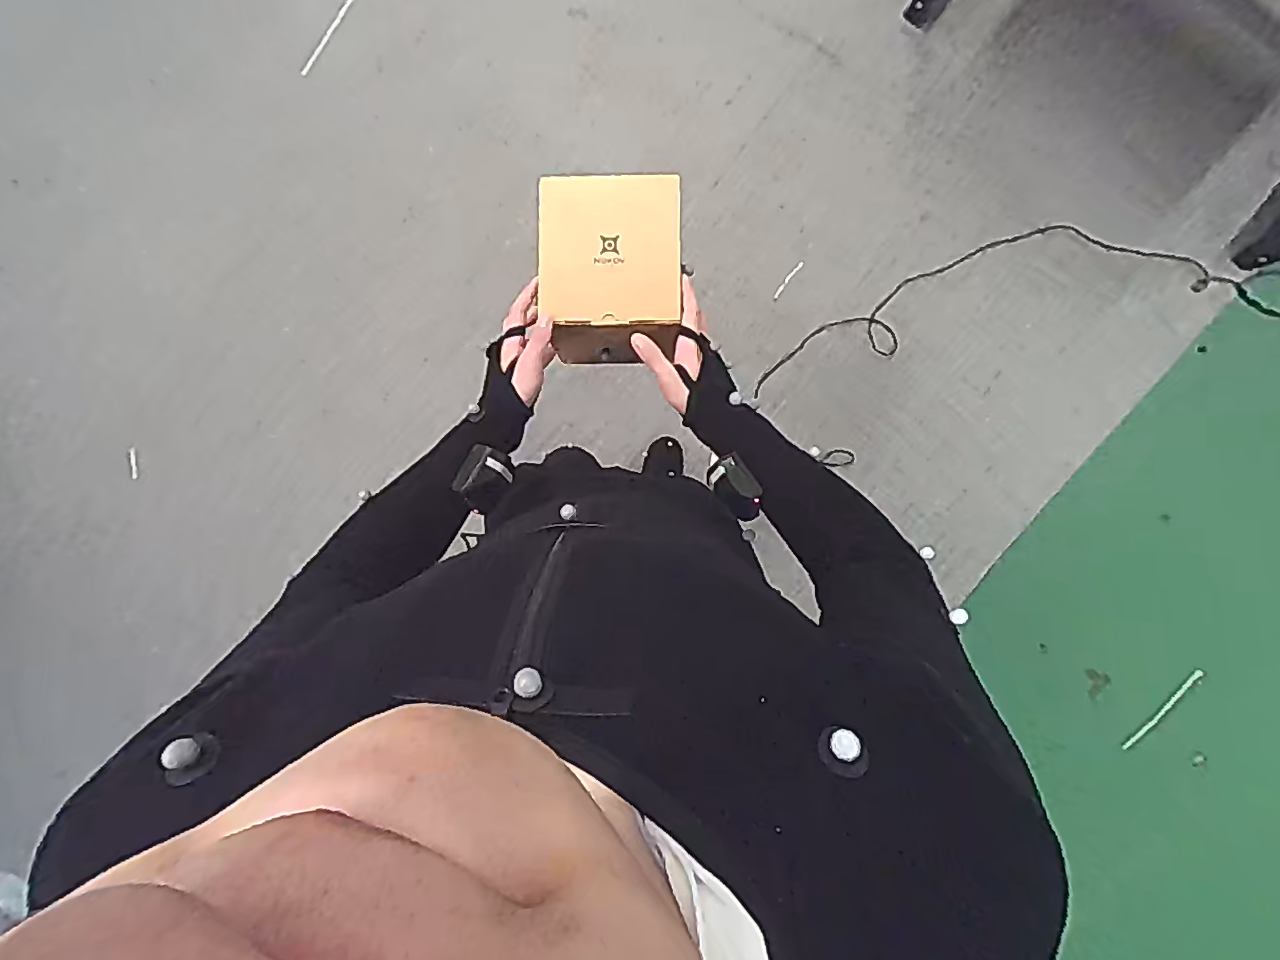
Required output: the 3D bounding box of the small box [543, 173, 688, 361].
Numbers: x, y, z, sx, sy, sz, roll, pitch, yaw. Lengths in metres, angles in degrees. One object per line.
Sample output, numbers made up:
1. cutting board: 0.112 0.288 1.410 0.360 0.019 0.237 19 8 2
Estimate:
1. small box: -0.028 -0.263 0.699 0.168 0.176 0.179 1 88 1
